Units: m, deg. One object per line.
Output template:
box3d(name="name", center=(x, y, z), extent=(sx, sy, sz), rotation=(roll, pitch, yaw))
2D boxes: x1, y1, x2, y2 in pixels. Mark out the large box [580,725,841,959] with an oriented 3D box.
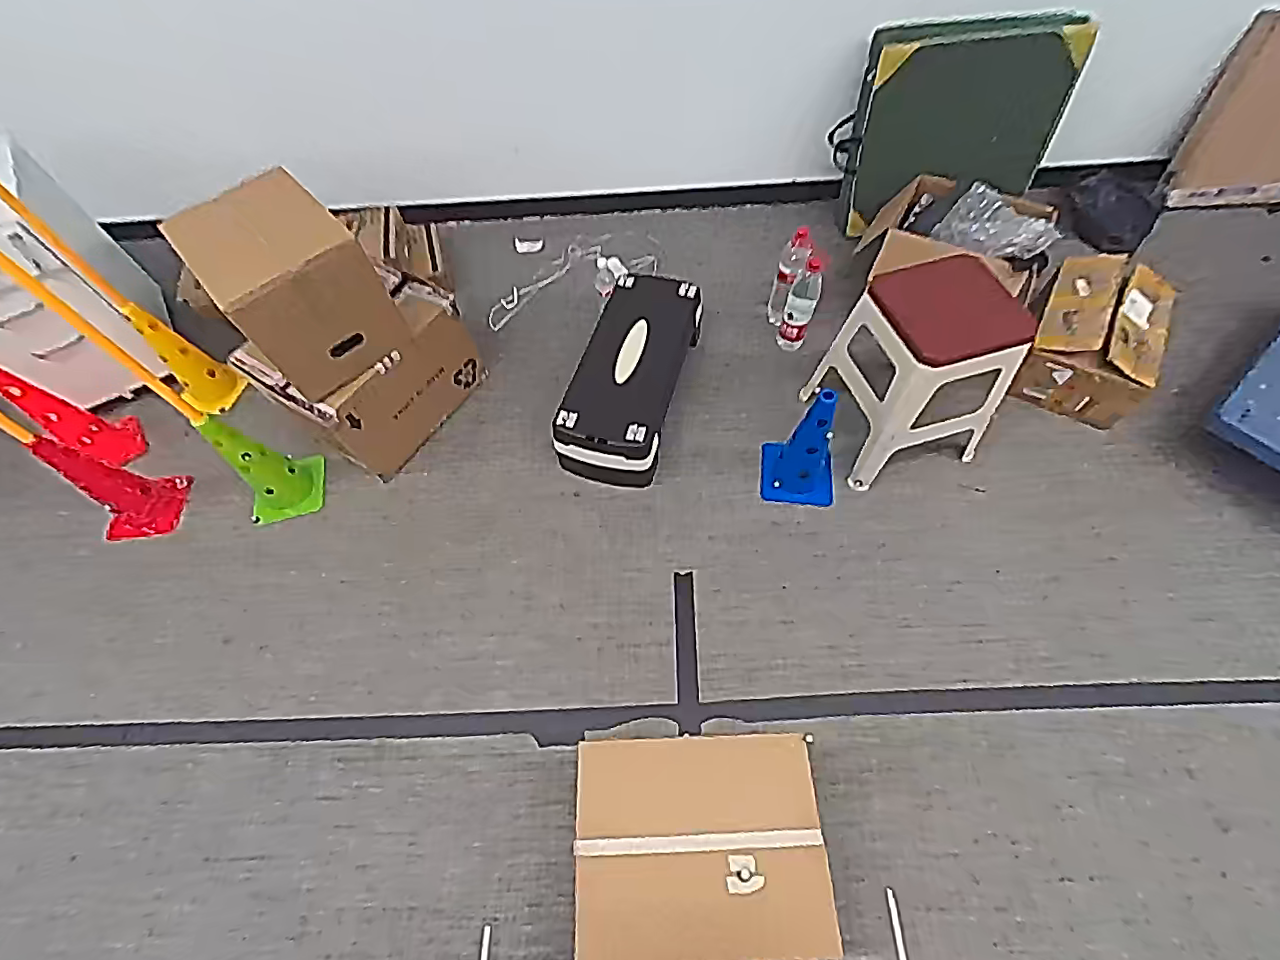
box3d(name="large box", center=(0.103, 0.657, 1.016), extent=(0.408, 0.320, 0.320), rotation=(-3, 60, 0))
